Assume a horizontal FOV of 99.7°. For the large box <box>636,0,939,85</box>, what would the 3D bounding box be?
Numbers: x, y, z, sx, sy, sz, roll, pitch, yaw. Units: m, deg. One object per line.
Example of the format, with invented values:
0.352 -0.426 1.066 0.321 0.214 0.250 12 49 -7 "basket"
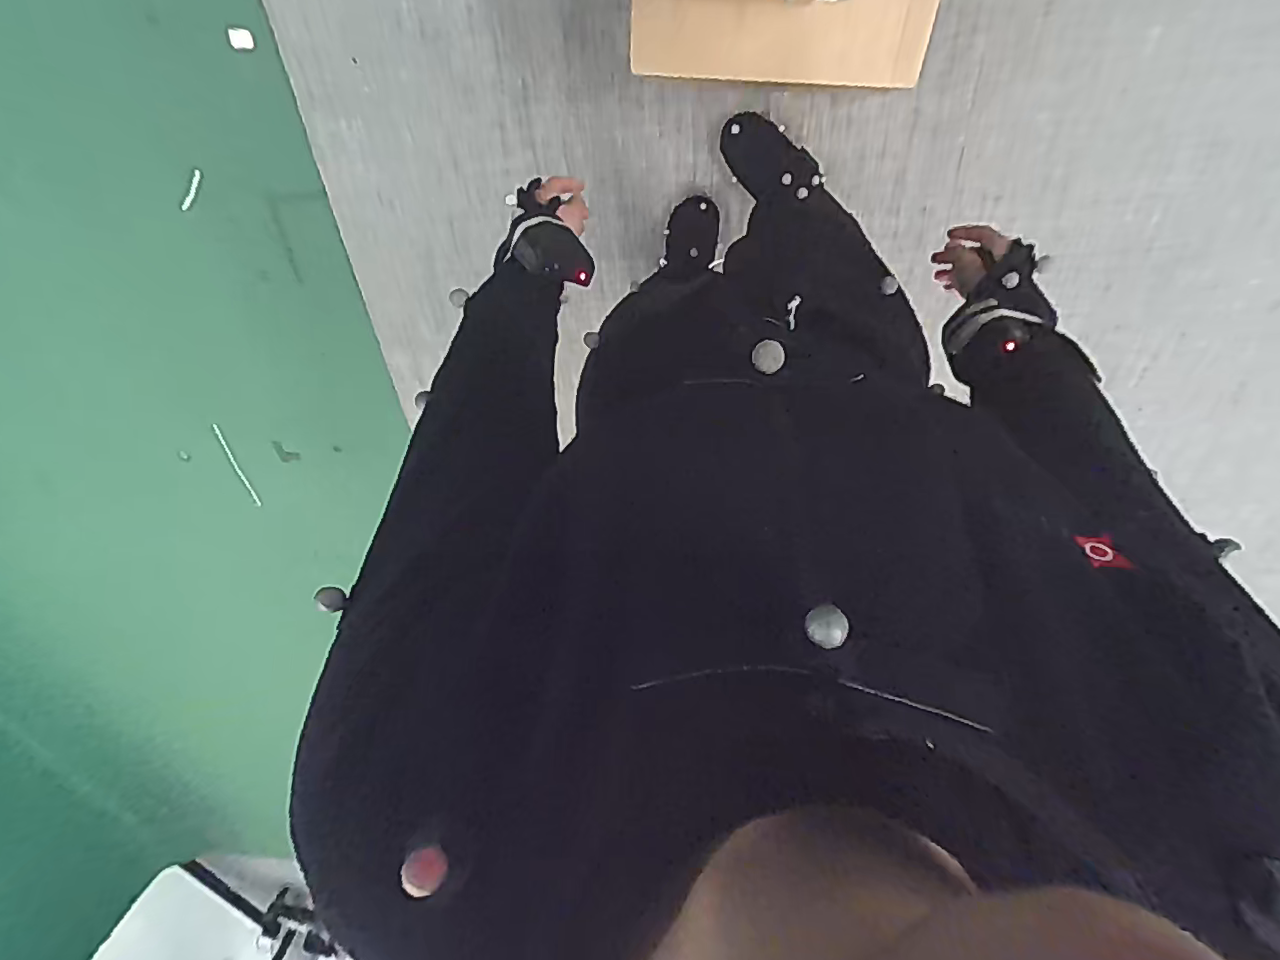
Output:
0.210 -0.781 0.796 0.408 0.320 0.320 6 126 5 "large box"
